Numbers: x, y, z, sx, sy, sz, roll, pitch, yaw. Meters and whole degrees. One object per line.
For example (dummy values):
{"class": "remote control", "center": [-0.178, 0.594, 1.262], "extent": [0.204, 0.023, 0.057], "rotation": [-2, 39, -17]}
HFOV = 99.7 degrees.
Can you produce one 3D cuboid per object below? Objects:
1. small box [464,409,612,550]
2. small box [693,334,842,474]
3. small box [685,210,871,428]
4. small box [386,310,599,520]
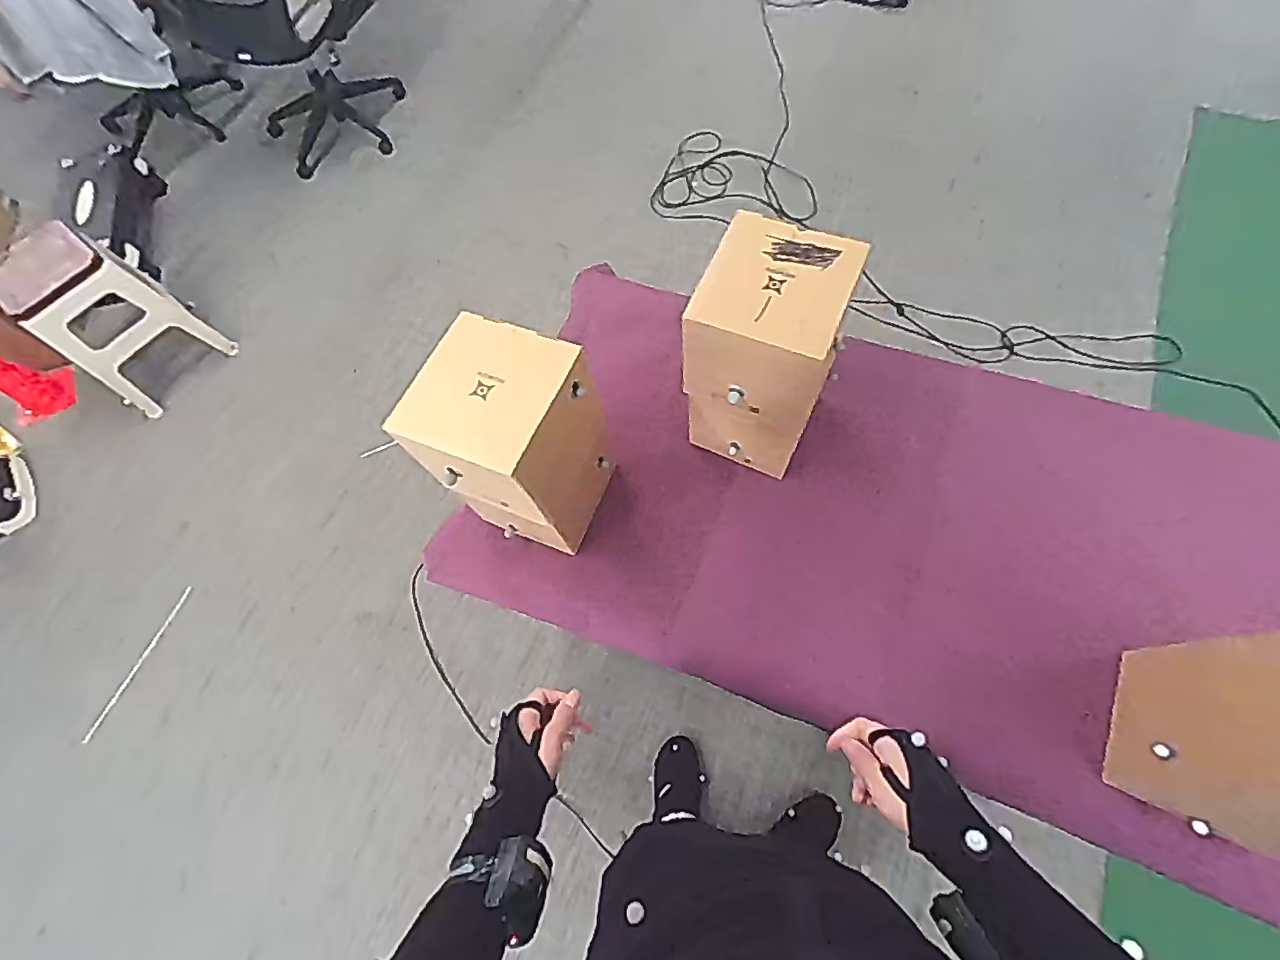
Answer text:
{"class": "small box", "center": [-0.151, -0.017, 0.823], "extent": [0.168, 0.176, 0.179], "rotation": [19, 70, 13]}
{"class": "small box", "center": [0.186, -0.138, 0.840], "extent": [0.168, 0.176, 0.179], "rotation": [24, 73, 15]}
{"class": "small box", "center": [0.164, -0.197, 0.688], "extent": [0.168, 0.176, 0.179], "rotation": [22, 72, 14]}
{"class": "small box", "center": [-0.164, -0.072, 0.671], "extent": [0.168, 0.176, 0.179], "rotation": [20, 69, 14]}
